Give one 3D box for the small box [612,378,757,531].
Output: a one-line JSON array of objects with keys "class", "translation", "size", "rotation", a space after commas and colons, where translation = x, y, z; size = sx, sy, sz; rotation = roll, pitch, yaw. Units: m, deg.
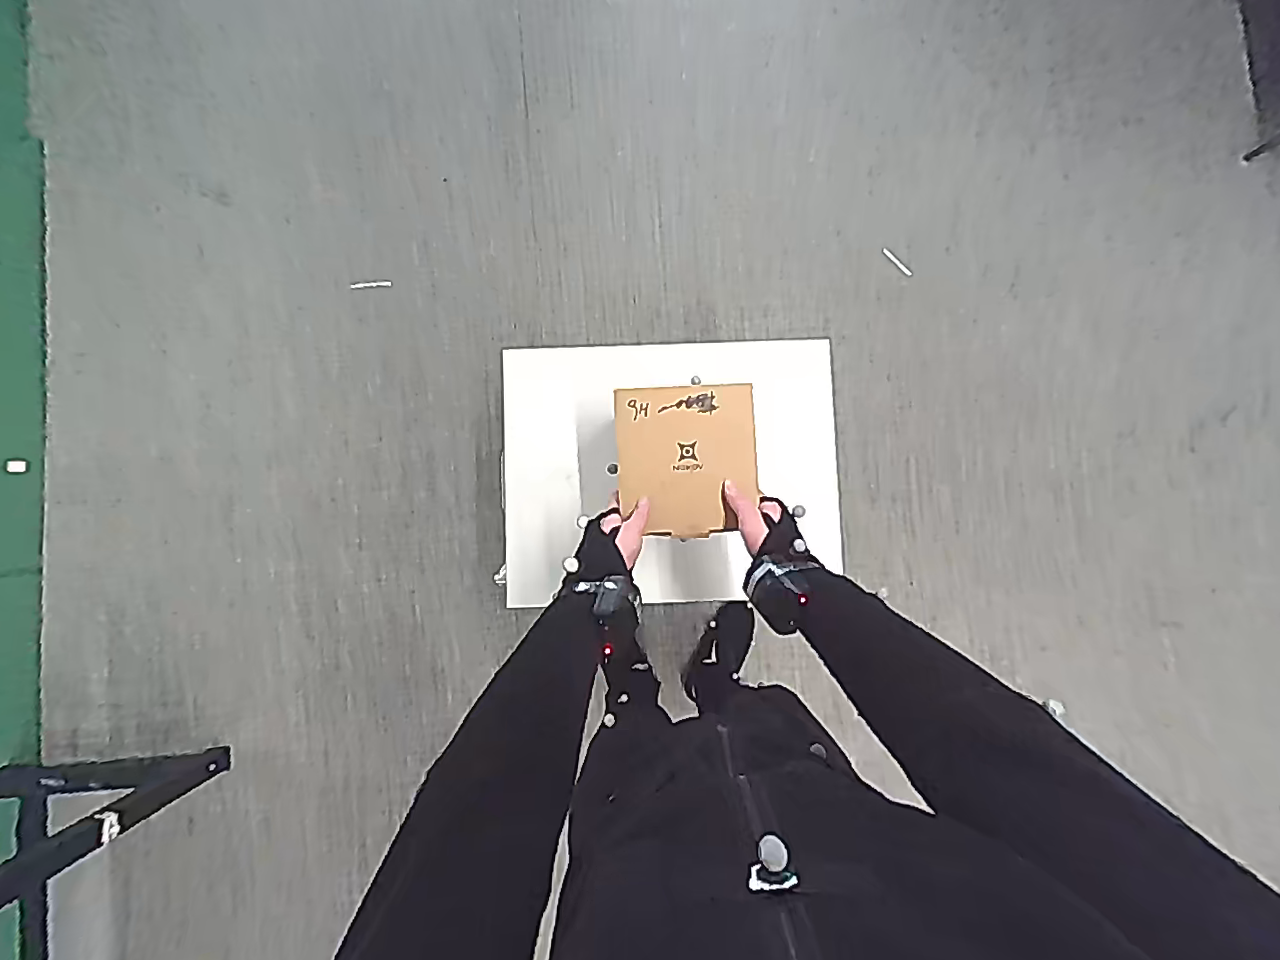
[{"class": "small box", "translation": [0.054, -0.029, 0.721], "size": [0.168, 0.176, 0.179], "rotation": [-4, 87, 0]}]
